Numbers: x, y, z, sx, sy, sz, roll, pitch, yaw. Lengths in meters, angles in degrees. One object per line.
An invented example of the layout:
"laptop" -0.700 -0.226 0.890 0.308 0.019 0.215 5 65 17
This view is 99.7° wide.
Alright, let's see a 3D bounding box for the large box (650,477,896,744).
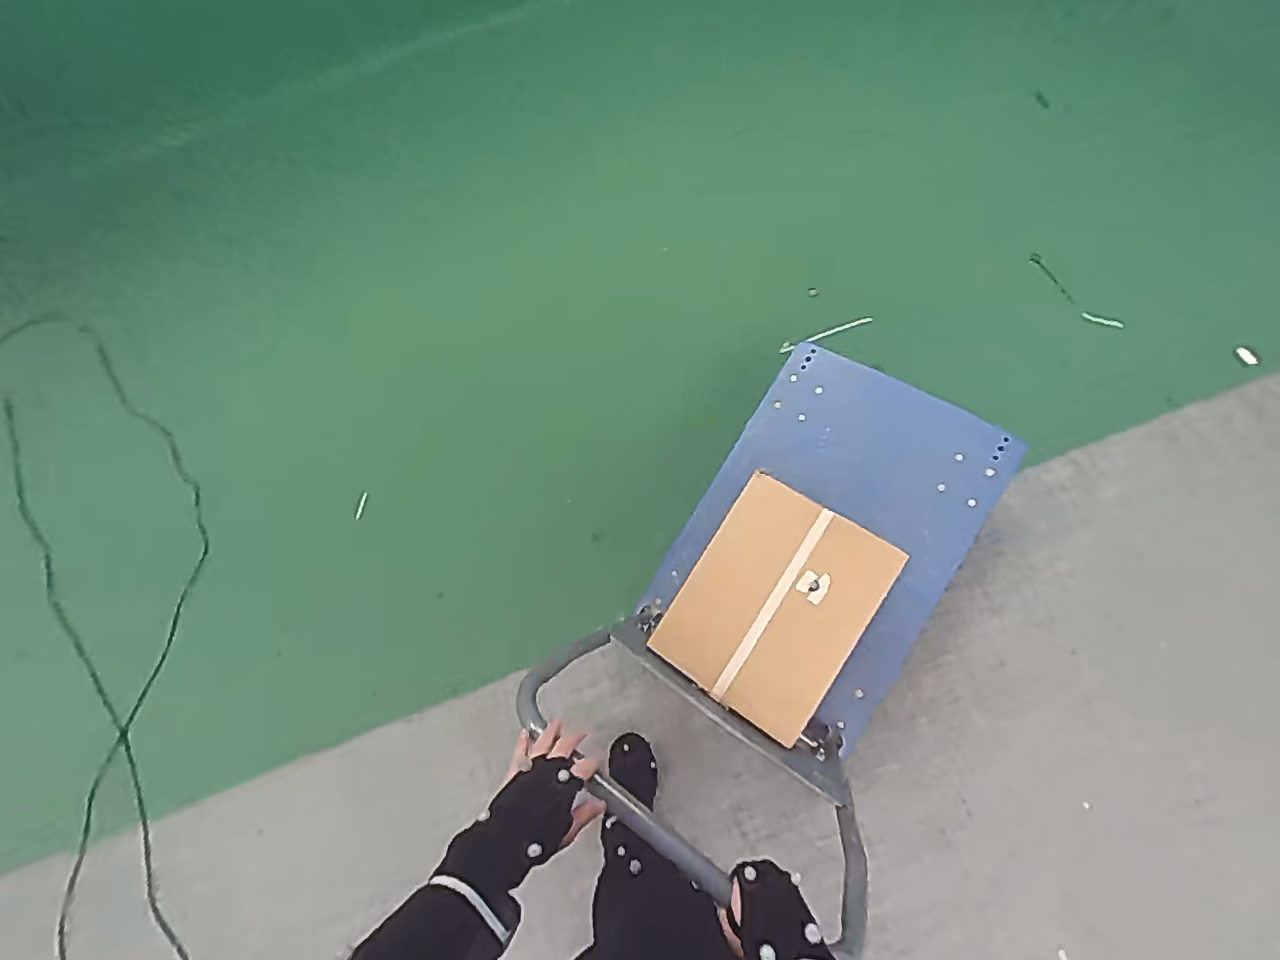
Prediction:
"large box" 0.278 0.266 1.159 0.320 0.320 0.408 32 86 18
